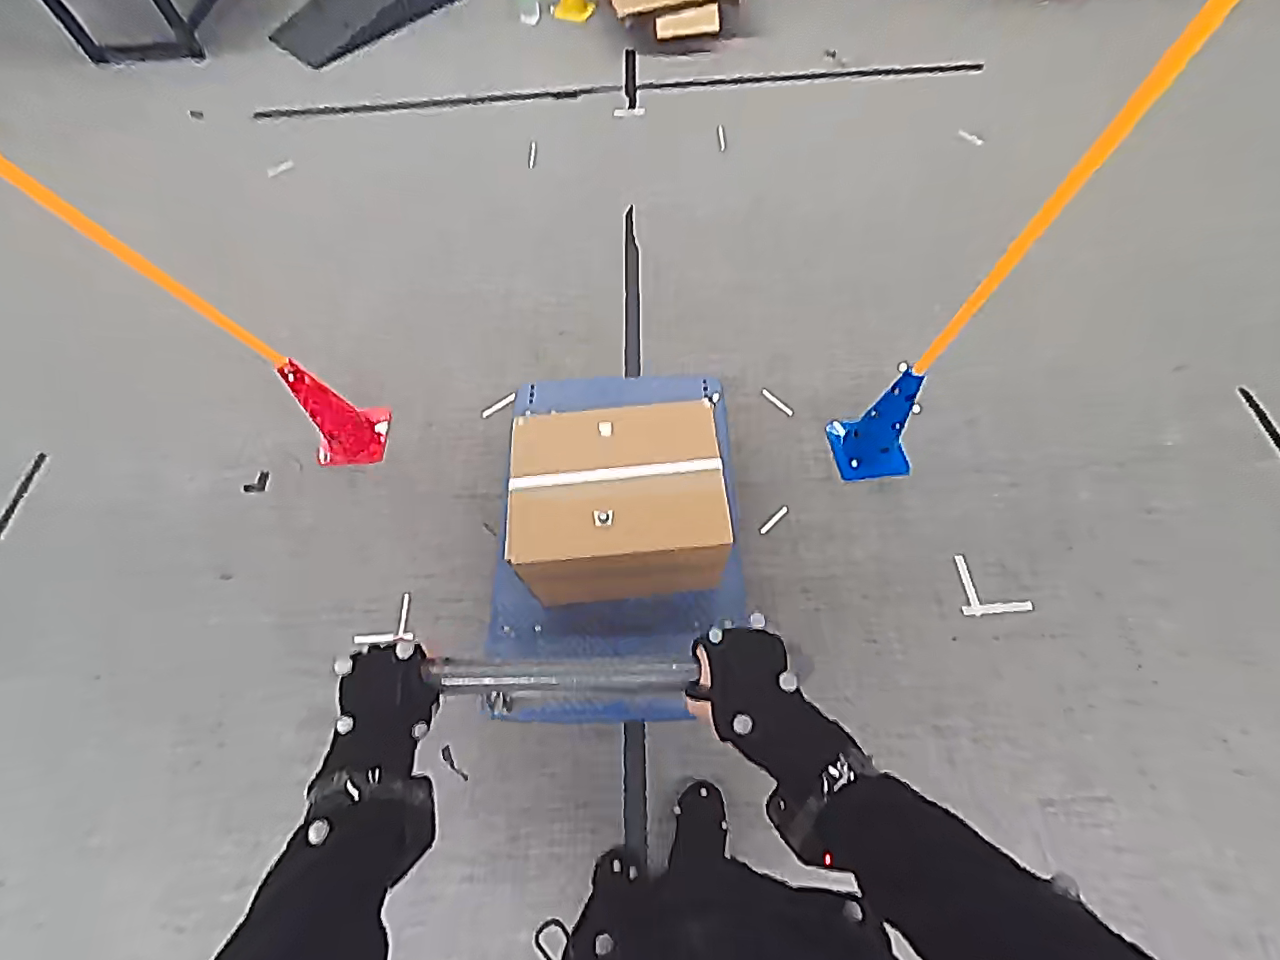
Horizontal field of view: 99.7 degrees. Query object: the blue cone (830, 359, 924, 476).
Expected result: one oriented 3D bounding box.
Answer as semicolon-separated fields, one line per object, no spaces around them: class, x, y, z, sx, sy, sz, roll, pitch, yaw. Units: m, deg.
blue cone;0.659;-0.175;1.429;0.193;0.380;0.192;-6;62;-1
